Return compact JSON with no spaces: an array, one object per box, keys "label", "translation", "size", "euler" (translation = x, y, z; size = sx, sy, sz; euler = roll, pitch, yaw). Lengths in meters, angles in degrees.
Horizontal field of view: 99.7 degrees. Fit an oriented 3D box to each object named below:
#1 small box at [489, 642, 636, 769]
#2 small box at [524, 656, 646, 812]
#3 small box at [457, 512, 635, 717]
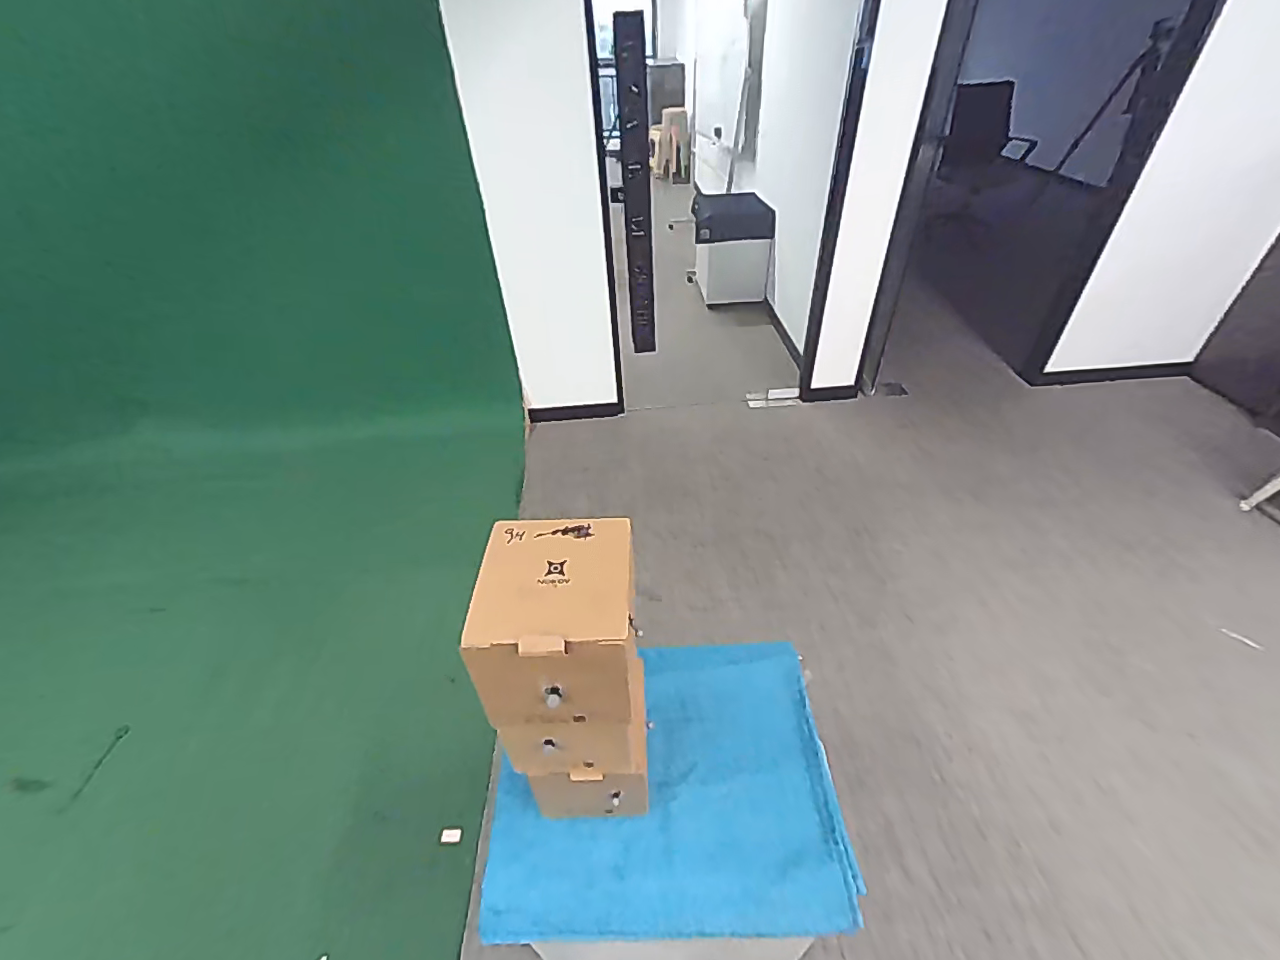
[{"label":"small box","translation":[-0.092,0.277,0.745],"size":[0.168,0.176,0.179],"euler":[0,39,2]},{"label":"small box","translation":[-0.074,0.400,0.849],"size":[0.168,0.176,0.179],"euler":[-1,39,1]},{"label":"small box","translation":[-0.092,0.158,0.631],"size":[0.168,0.176,0.179],"euler":[0,40,2]}]
